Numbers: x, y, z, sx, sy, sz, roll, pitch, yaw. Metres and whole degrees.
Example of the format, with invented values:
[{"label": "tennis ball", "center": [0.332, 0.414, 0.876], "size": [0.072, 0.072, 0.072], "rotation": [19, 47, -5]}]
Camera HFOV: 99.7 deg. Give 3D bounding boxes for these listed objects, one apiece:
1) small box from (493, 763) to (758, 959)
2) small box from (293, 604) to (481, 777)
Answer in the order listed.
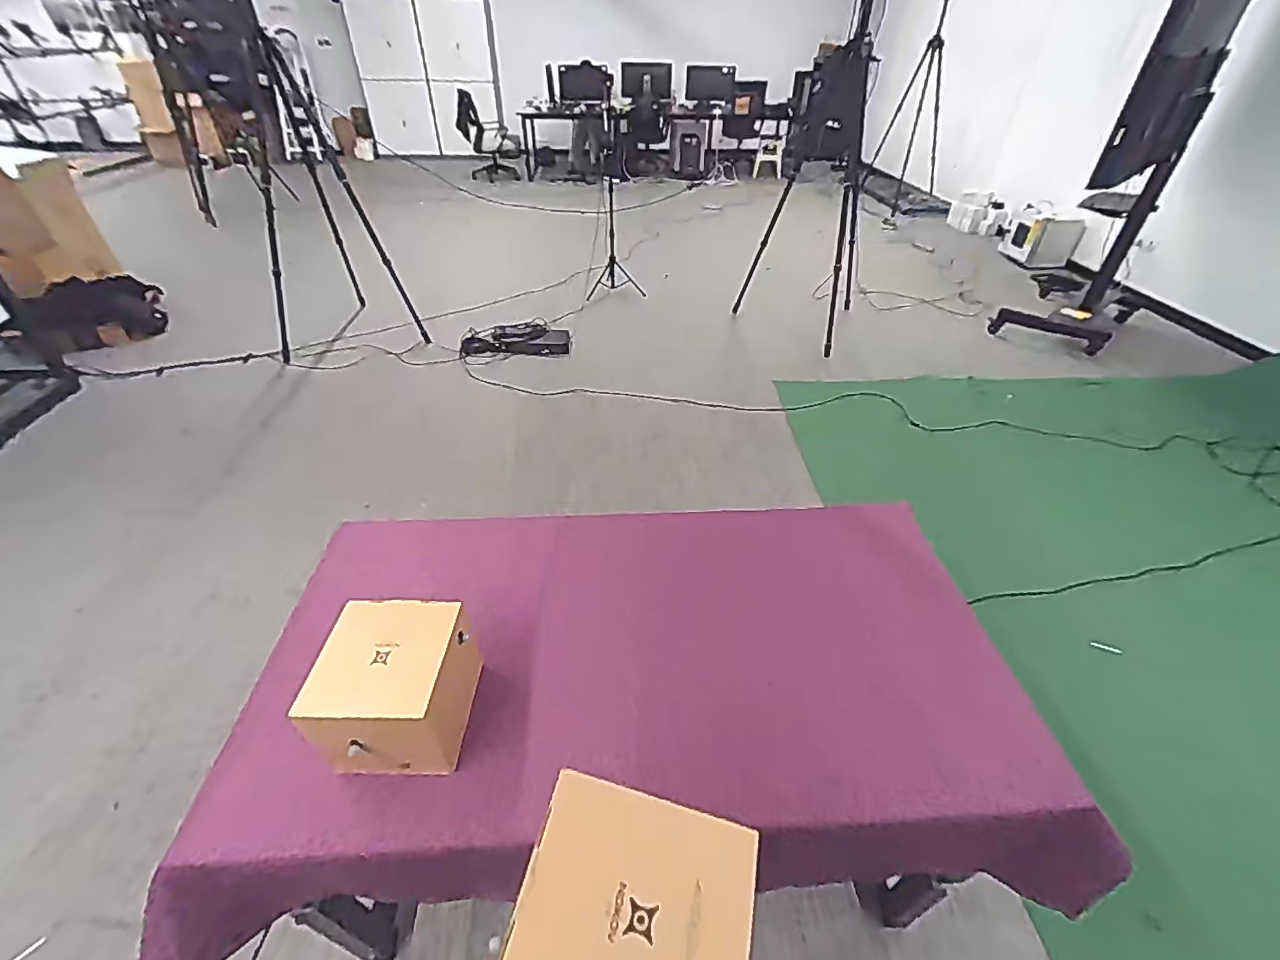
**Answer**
[{"label": "small box", "center": [-0.015, 0.377, 0.459], "size": [0.179, 0.176, 0.168], "rotation": [16, 45, 4]}, {"label": "small box", "center": [-0.335, 0.297, 0.763], "size": [0.168, 0.176, 0.179], "rotation": [0, 38, 1]}]
